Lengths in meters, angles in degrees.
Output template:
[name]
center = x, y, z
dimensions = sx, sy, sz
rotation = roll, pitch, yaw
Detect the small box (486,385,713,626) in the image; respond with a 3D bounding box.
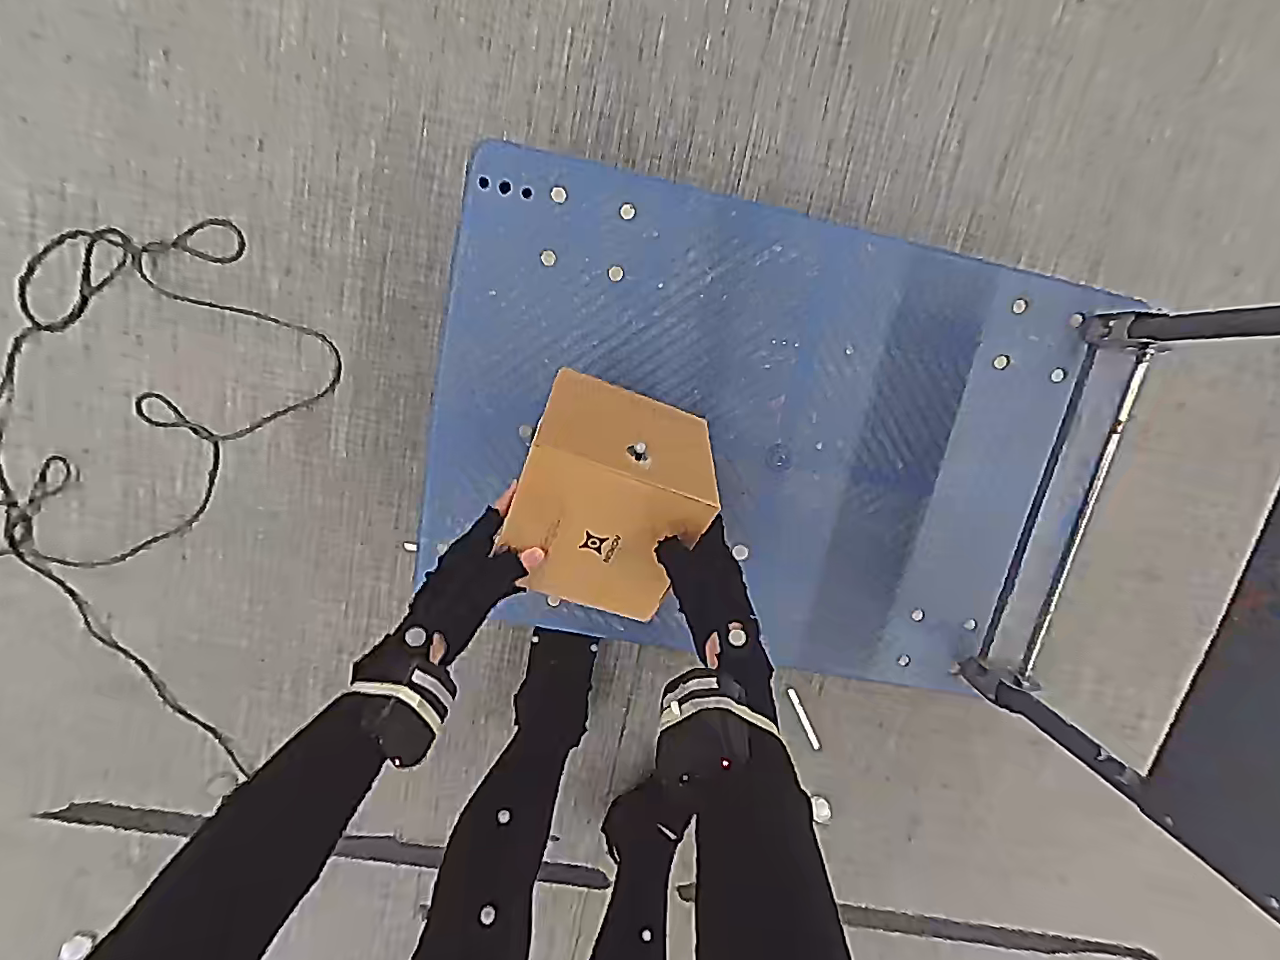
[small box]
center = -0.042, 0.020, 0.574
dimensions = 0.179, 0.176, 0.168
rotation = 19, 121, -10
